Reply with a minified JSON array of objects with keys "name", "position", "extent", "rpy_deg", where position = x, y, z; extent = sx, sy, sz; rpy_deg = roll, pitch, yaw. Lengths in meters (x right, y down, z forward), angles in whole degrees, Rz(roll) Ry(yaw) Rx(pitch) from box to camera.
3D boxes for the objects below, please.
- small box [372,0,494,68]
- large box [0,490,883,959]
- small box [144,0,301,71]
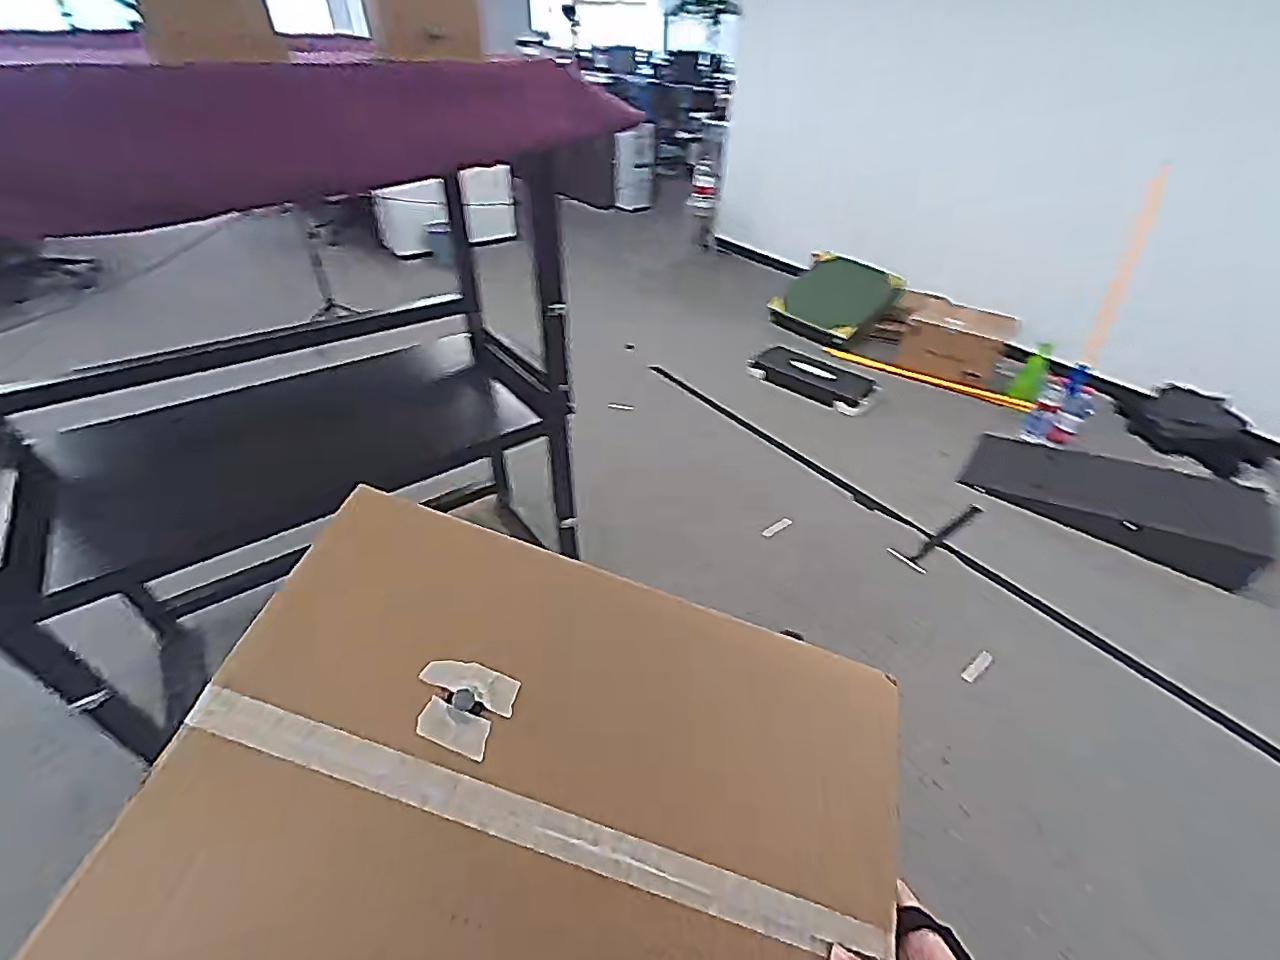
[{"name":"small box","position":[-0.367,-0.833,0.945],"extent":[0.179,0.176,0.168],"rpy_deg":[-20,43,-24]},{"name":"large box","position":[-0.082,0.264,0.416],"extent":[0.408,0.320,0.320],"rpy_deg":[18,55,2]},{"name":"small box","position":[-0.622,-0.711,0.791],"extent":[0.179,0.176,0.168],"rpy_deg":[-22,44,-26]}]
